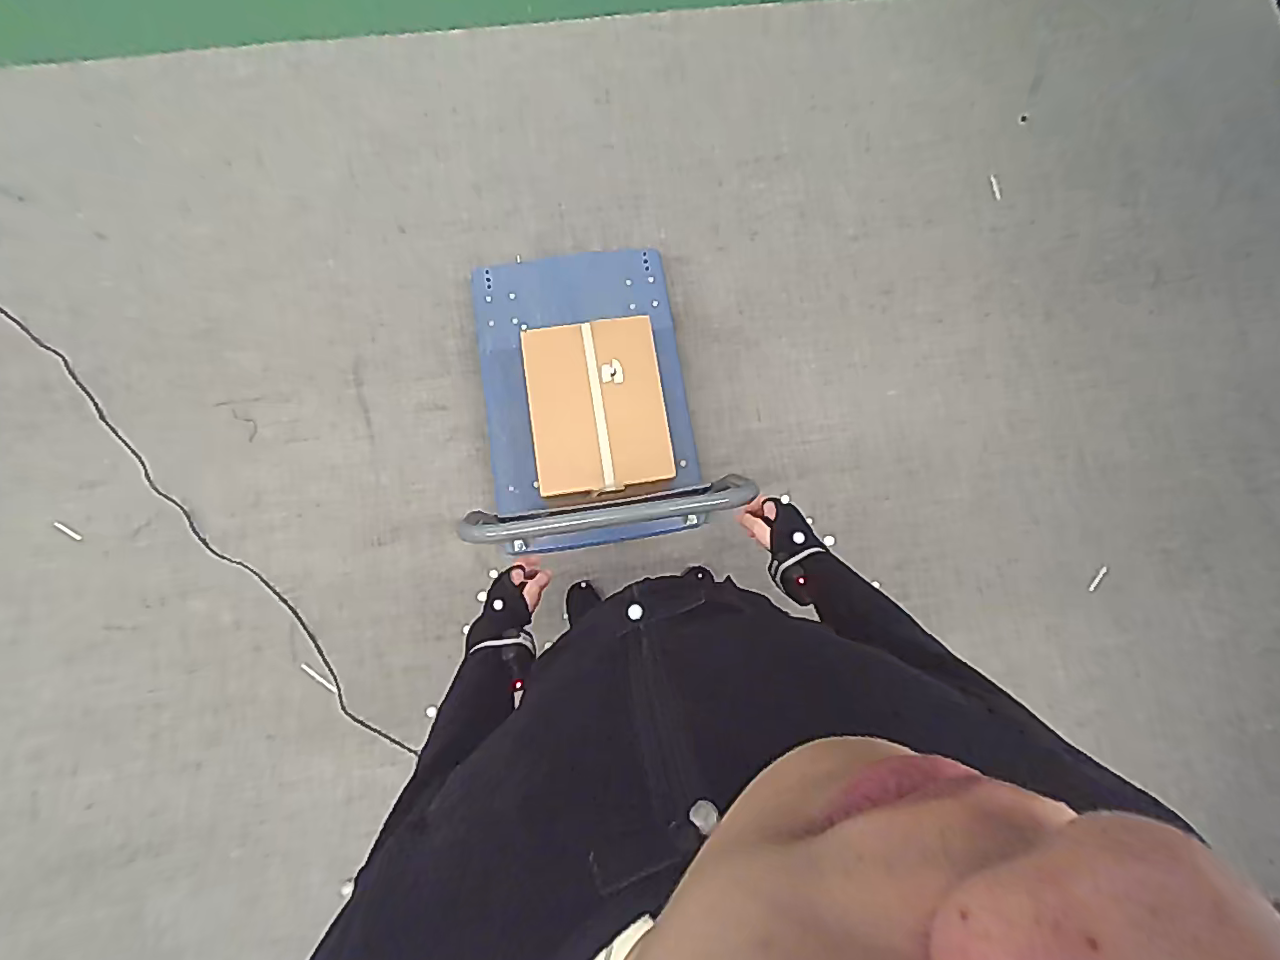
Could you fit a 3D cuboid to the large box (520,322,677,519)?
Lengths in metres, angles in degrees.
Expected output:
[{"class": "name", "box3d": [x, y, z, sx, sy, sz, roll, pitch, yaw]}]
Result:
[{"class": "large box", "box3d": [-0.107, -0.137, 1.401, 0.320, 0.320, 0.408, -9, 78, -5]}]
